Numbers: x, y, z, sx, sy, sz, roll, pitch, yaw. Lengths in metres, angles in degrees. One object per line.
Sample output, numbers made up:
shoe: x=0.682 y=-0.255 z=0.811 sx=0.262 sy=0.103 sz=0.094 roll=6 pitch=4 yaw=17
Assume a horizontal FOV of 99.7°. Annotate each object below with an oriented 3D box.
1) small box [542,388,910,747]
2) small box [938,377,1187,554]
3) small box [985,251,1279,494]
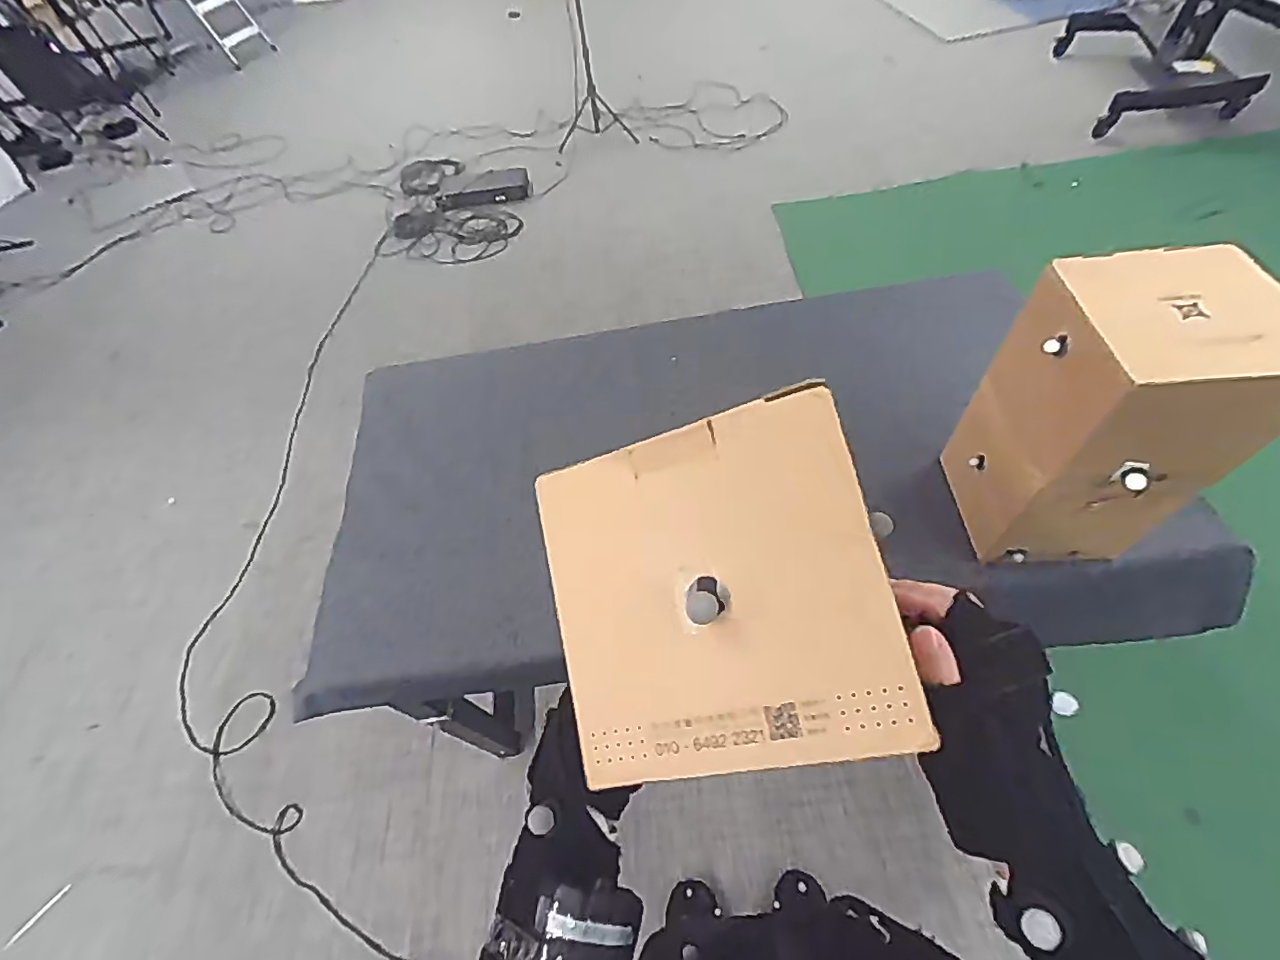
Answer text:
small box: x=0.061 y=0.063 z=0.354 sx=0.168 sy=0.179 sz=0.176 roll=-15 pitch=78 yaw=18
small box: x=0.510 y=-0.015 z=0.686 sx=0.168 sy=0.176 sz=0.179 roll=-2 pitch=54 yaw=6
small box: x=0.490 y=-0.104 z=0.552 sx=0.168 sy=0.176 sz=0.179 roll=-3 pitch=56 yaw=7
